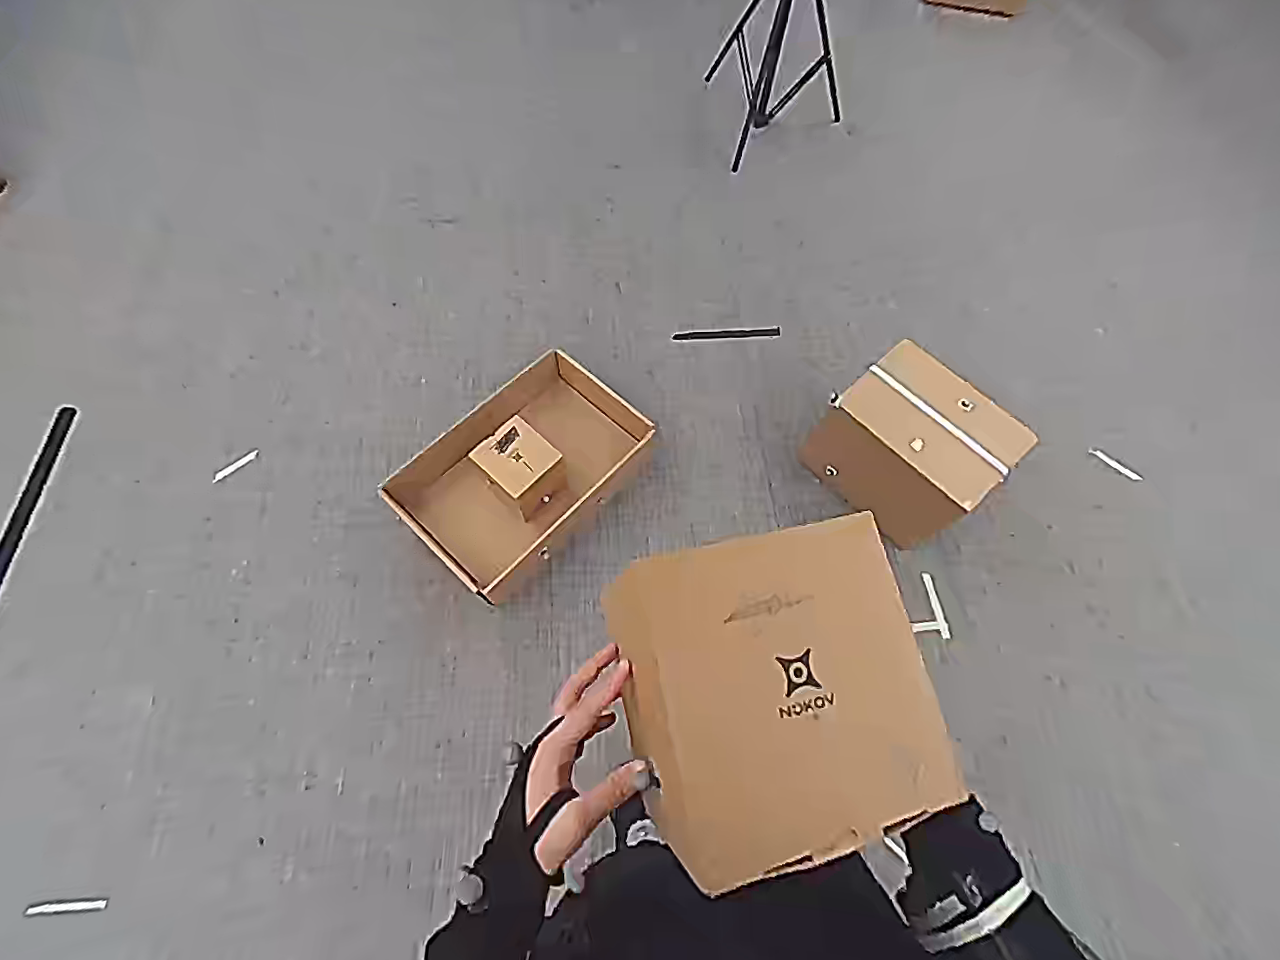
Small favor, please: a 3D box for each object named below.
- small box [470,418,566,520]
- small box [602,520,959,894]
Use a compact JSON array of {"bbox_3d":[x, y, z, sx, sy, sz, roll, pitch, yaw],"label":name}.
[{"bbox_3d":[-0.314,-0.023,1.431,0.179,0.176,0.168,40,70,14],"label":"small box"},{"bbox_3d":[0.076,0.144,0.392,0.168,0.176,0.179,-10,74,-15],"label":"small box"}]
